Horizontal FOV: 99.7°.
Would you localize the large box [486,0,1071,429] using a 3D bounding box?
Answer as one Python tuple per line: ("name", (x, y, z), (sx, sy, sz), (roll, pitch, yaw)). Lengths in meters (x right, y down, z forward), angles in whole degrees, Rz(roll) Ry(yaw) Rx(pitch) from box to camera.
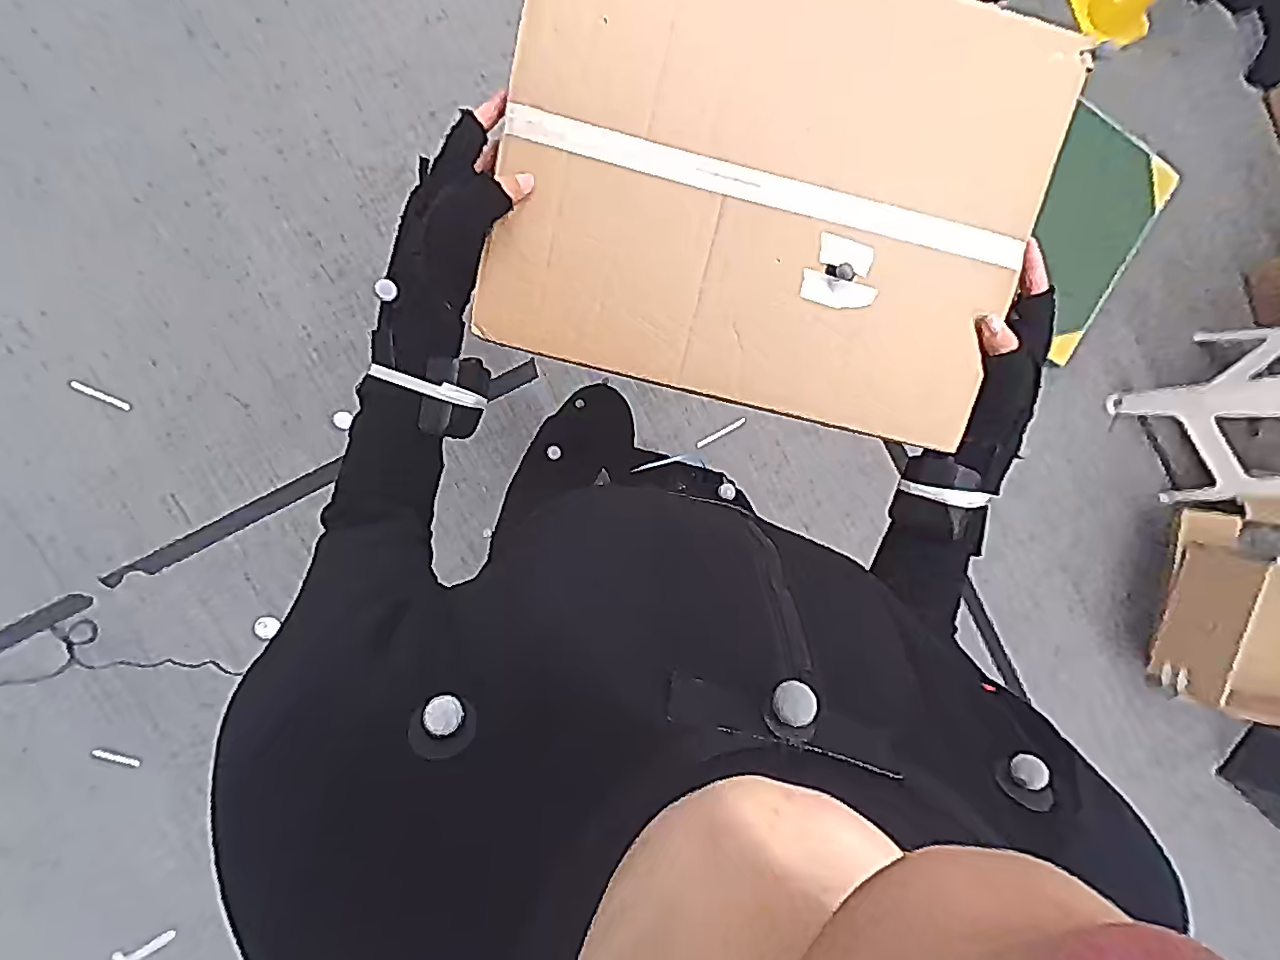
("large box", (0.093, -0.257, 0.564), (0.408, 0.320, 0.320), (13, 102, -5))
